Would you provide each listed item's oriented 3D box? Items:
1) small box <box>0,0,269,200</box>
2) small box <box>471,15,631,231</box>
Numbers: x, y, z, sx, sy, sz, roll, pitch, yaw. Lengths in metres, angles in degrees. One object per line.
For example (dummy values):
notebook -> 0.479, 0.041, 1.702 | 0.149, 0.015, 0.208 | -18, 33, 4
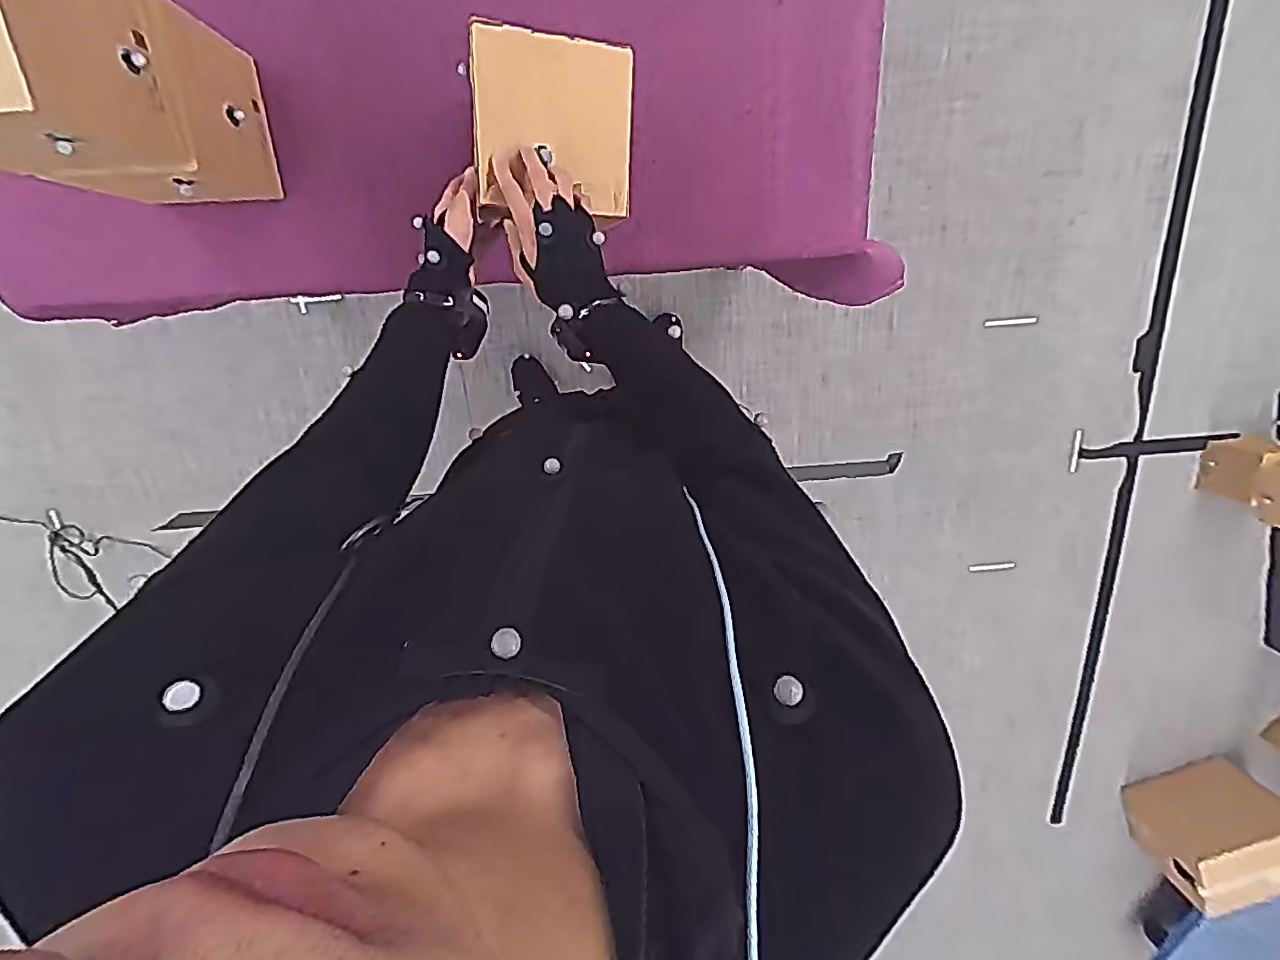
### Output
small box -> -0.572, -0.433, 0.630 | 0.179, 0.176, 0.168 | -3, 108, -2
small box -> -0.114, -0.400, 0.646 | 0.168, 0.179, 0.176 | -2, 110, -16
